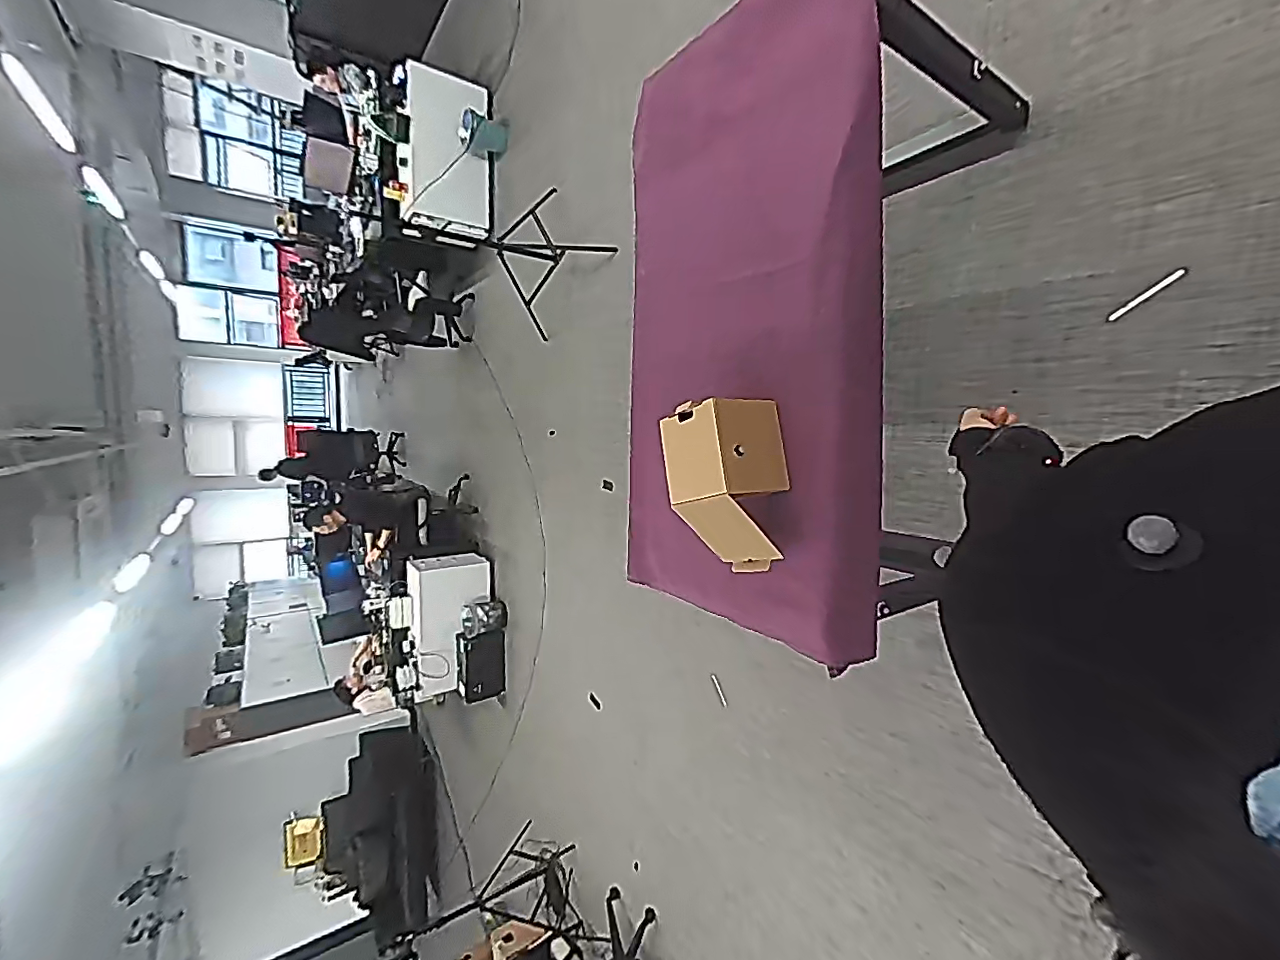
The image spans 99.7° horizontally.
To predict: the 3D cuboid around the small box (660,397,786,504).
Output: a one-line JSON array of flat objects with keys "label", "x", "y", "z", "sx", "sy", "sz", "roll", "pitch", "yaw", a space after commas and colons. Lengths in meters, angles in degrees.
[{"label": "small box", "x": 0.161, "y": -0.055, "z": 1.047, "sx": 0.168, "sy": 0.176, "sz": 0.179, "roll": -16, "pitch": 79, "yaw": 54}]
